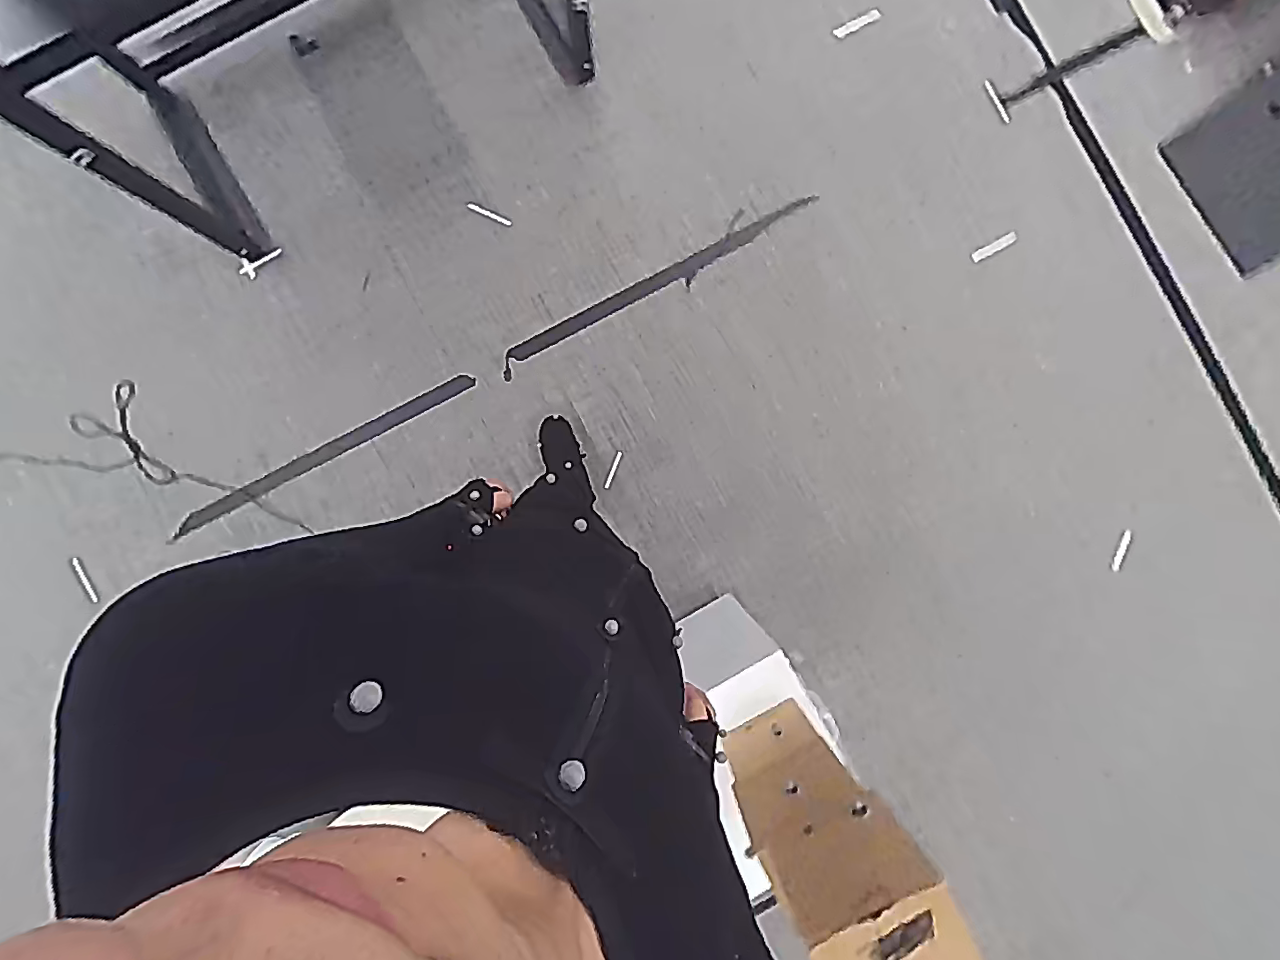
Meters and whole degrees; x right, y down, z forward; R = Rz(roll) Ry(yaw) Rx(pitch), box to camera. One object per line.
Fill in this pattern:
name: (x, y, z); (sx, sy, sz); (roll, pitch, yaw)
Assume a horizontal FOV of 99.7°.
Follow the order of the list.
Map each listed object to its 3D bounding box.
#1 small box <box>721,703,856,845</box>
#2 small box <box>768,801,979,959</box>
small box: (0.265, 0.535, 0.983); (0.168, 0.176, 0.179); (-28, 91, -1)
small box: (0.277, 0.529, 0.654); (0.168, 0.176, 0.179); (-25, 92, -1)
